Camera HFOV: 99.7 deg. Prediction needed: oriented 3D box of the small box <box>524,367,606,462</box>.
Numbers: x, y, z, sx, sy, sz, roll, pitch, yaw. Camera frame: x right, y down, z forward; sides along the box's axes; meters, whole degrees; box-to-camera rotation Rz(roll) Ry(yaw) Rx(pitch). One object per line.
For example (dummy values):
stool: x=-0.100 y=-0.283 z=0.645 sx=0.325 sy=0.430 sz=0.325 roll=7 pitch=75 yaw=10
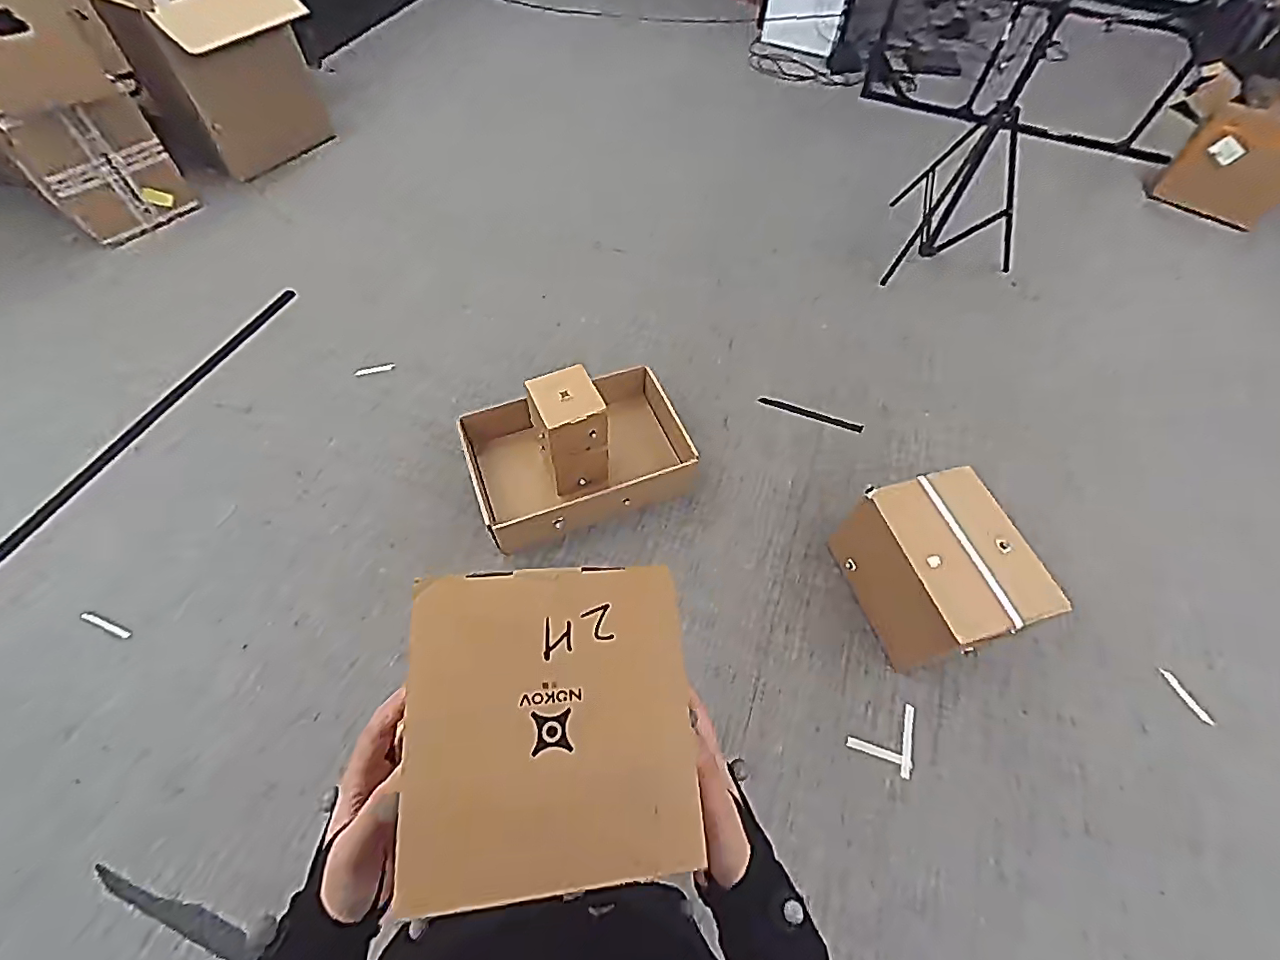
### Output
small box: x=-0.199 y=-0.169 z=1.468 sx=0.168 sy=0.176 sz=0.179 roll=-22 pitch=61 yaw=-17

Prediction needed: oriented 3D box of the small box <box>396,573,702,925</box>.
small box: x=-0.065 y=0.174 z=0.391 sx=0.168 sy=0.176 sz=0.179 roll=-1 pitch=67 yaw=-13

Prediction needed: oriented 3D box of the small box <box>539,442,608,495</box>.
small box: x=-0.201 y=-0.085 z=1.606 sx=0.168 sy=0.176 sz=0.179 roll=-19 pitch=62 yaw=-14
